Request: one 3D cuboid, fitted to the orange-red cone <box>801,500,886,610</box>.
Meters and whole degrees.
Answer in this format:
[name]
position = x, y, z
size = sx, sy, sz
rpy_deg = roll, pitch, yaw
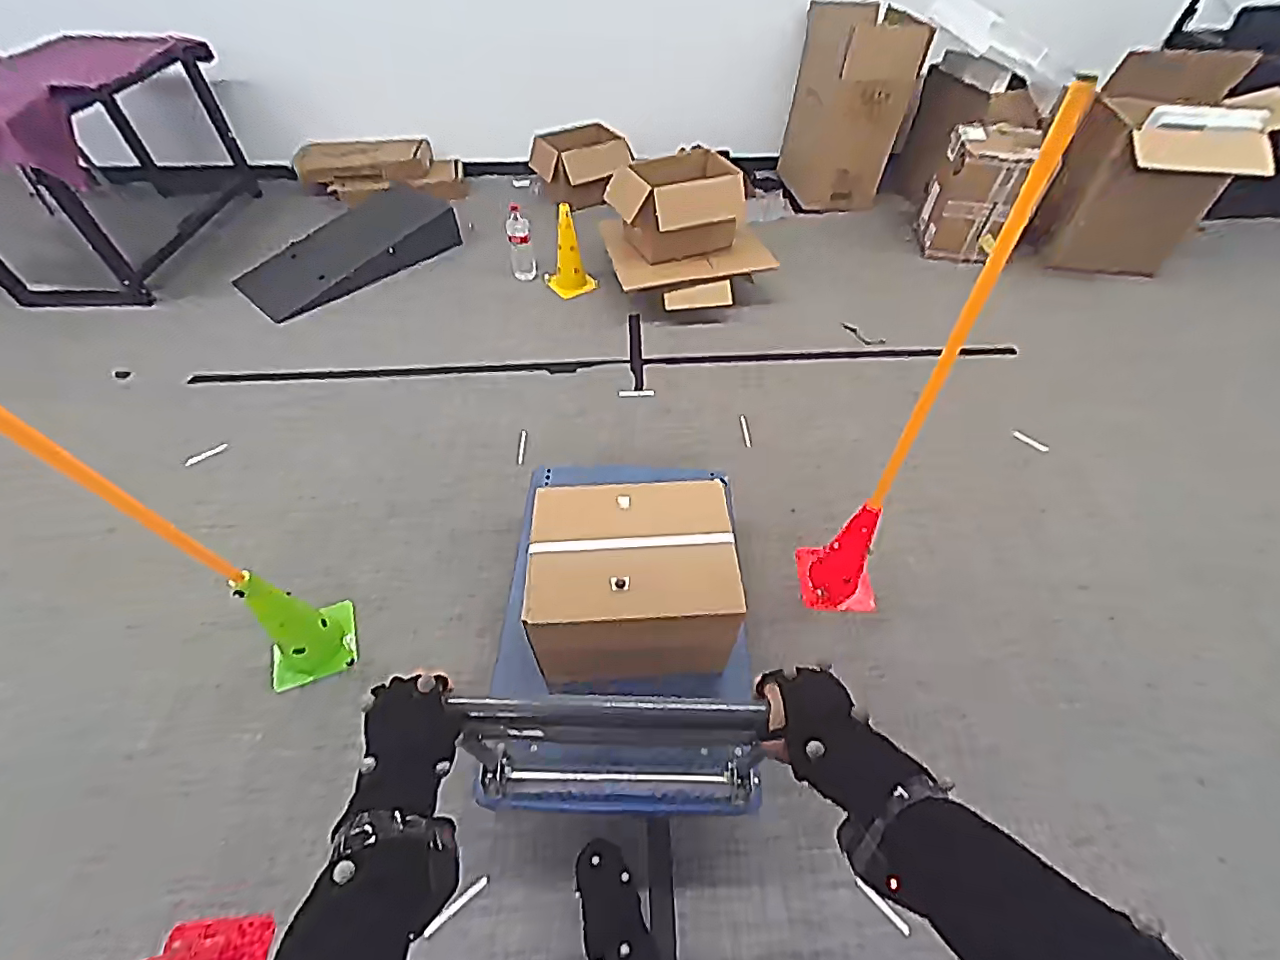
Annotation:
[orange-red cone]
position = 0.573, 0.173, 1.432
size = 0.199, 0.360, 0.198
rpy_deg = 4, 51, 2
